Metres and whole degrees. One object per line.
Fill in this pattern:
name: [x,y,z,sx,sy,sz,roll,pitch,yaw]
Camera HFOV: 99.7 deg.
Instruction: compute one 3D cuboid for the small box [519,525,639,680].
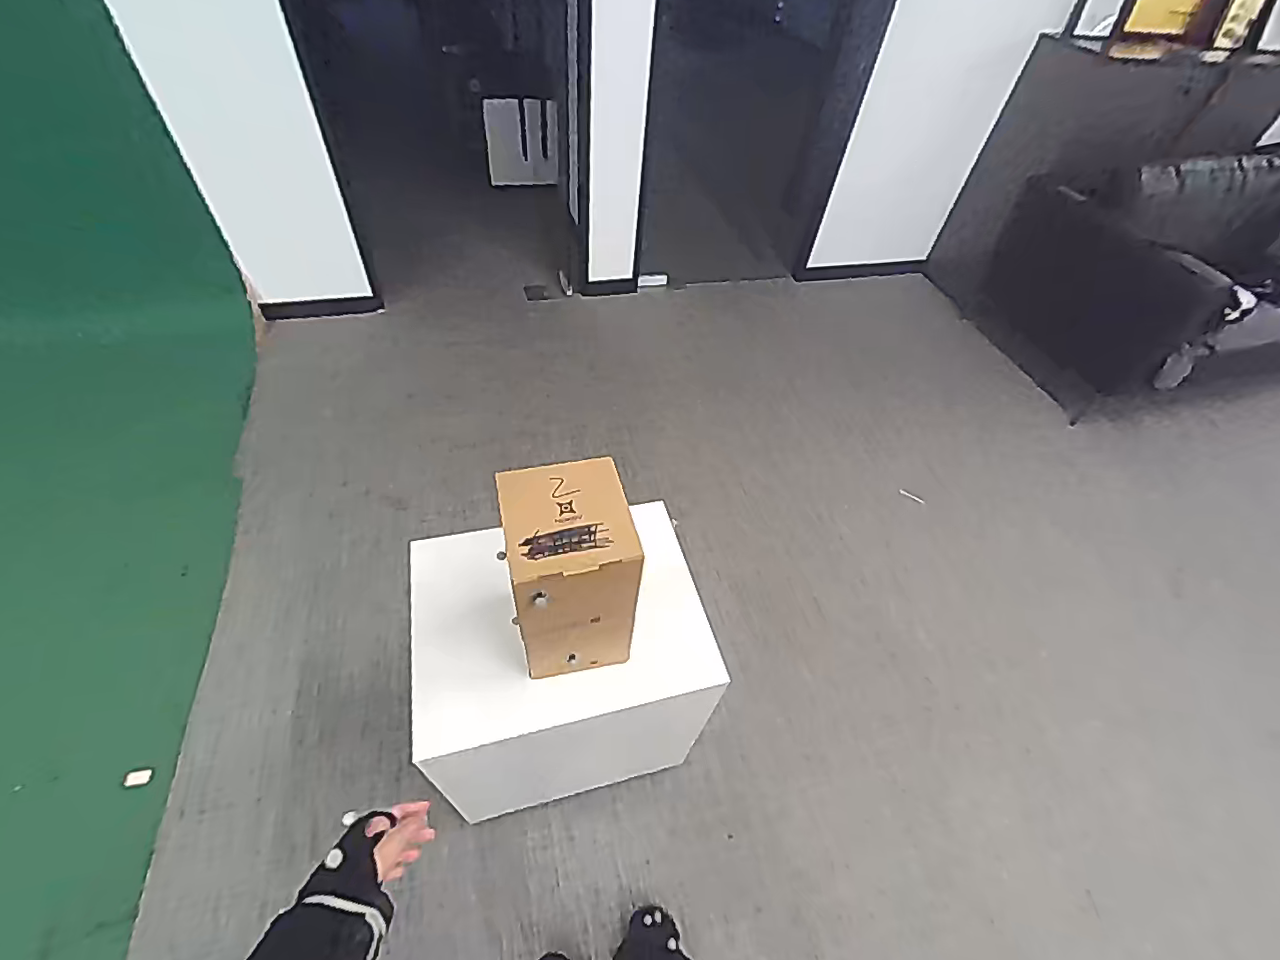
small box: [-0.105,0.200,0.887,0.168,0.176,0.179,-8,50,-12]
